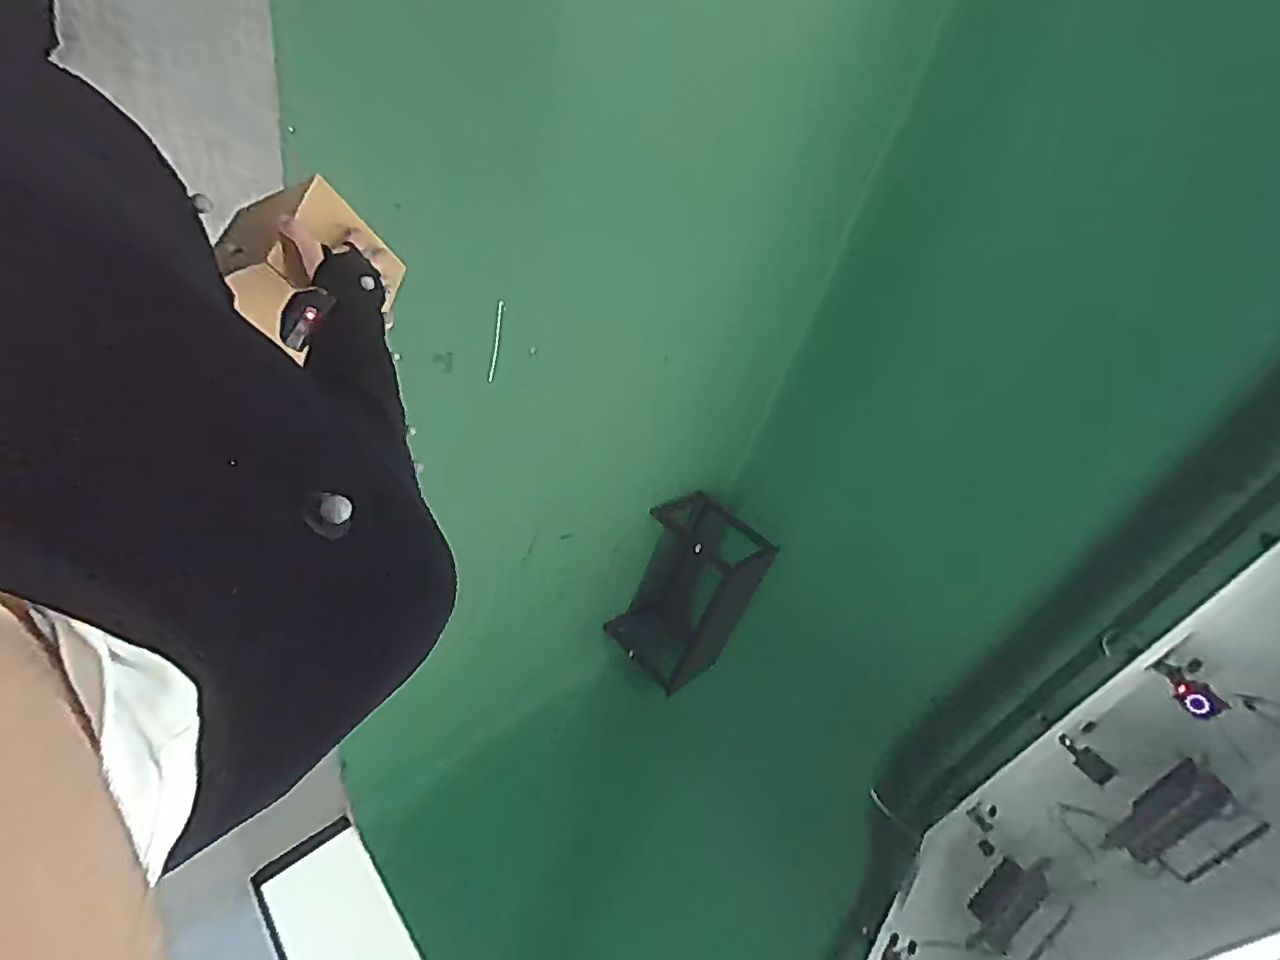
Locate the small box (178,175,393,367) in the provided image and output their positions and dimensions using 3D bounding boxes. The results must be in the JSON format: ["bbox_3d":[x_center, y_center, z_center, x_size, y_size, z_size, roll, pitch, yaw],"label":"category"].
[{"bbox_3d":[-0.497,-0.285,0.769,0.168,0.176,0.179,53,36,-53],"label":"small box"}]
